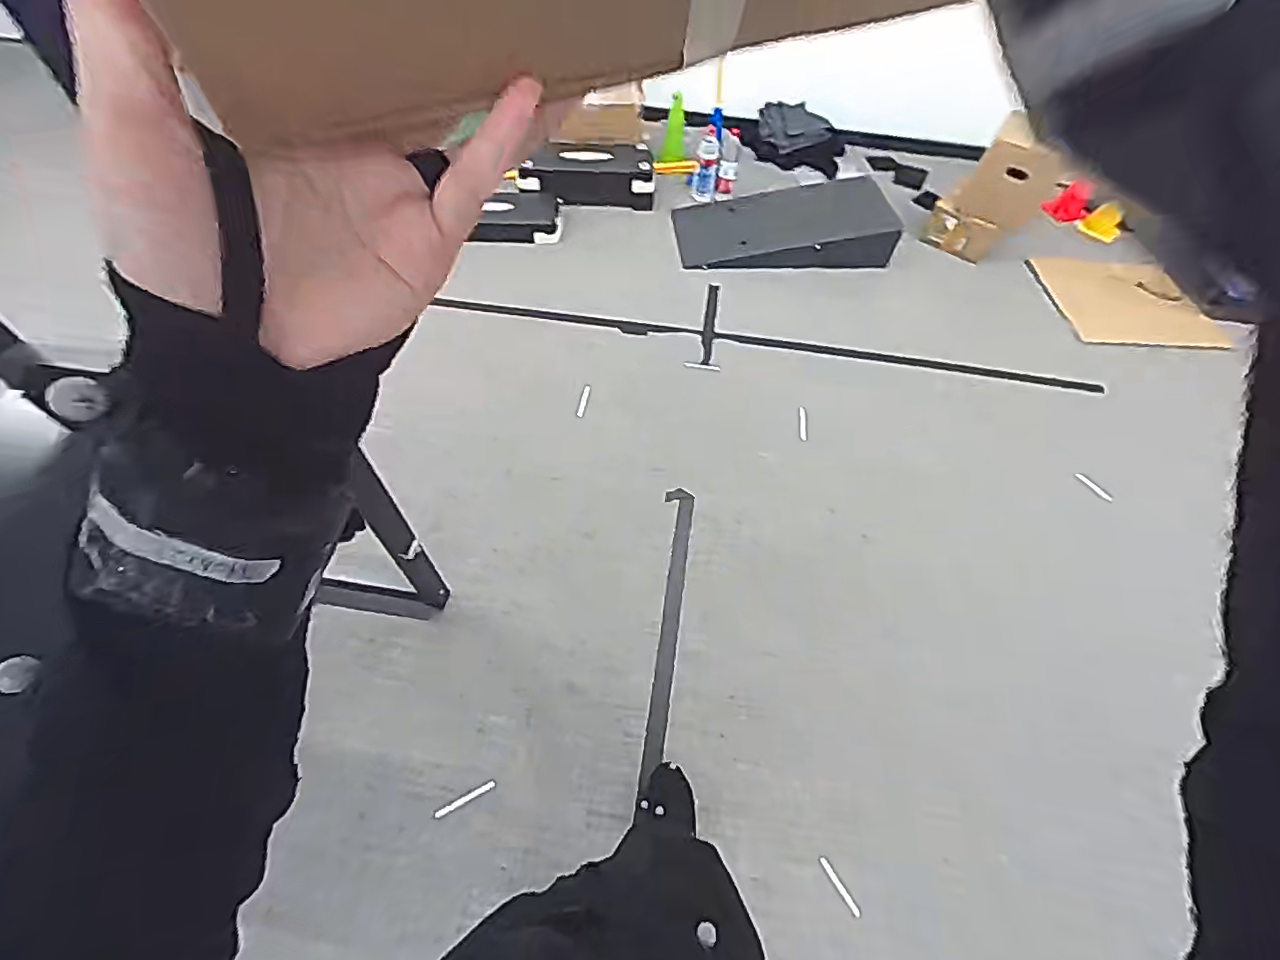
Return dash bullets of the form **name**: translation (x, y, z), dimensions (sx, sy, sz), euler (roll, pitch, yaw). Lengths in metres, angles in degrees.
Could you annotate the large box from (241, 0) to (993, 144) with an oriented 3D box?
- **large box**: translation (-0.018, -0.361, 0.083), dimensions (0.320, 0.320, 0.408), euler (-22, 82, -15)
